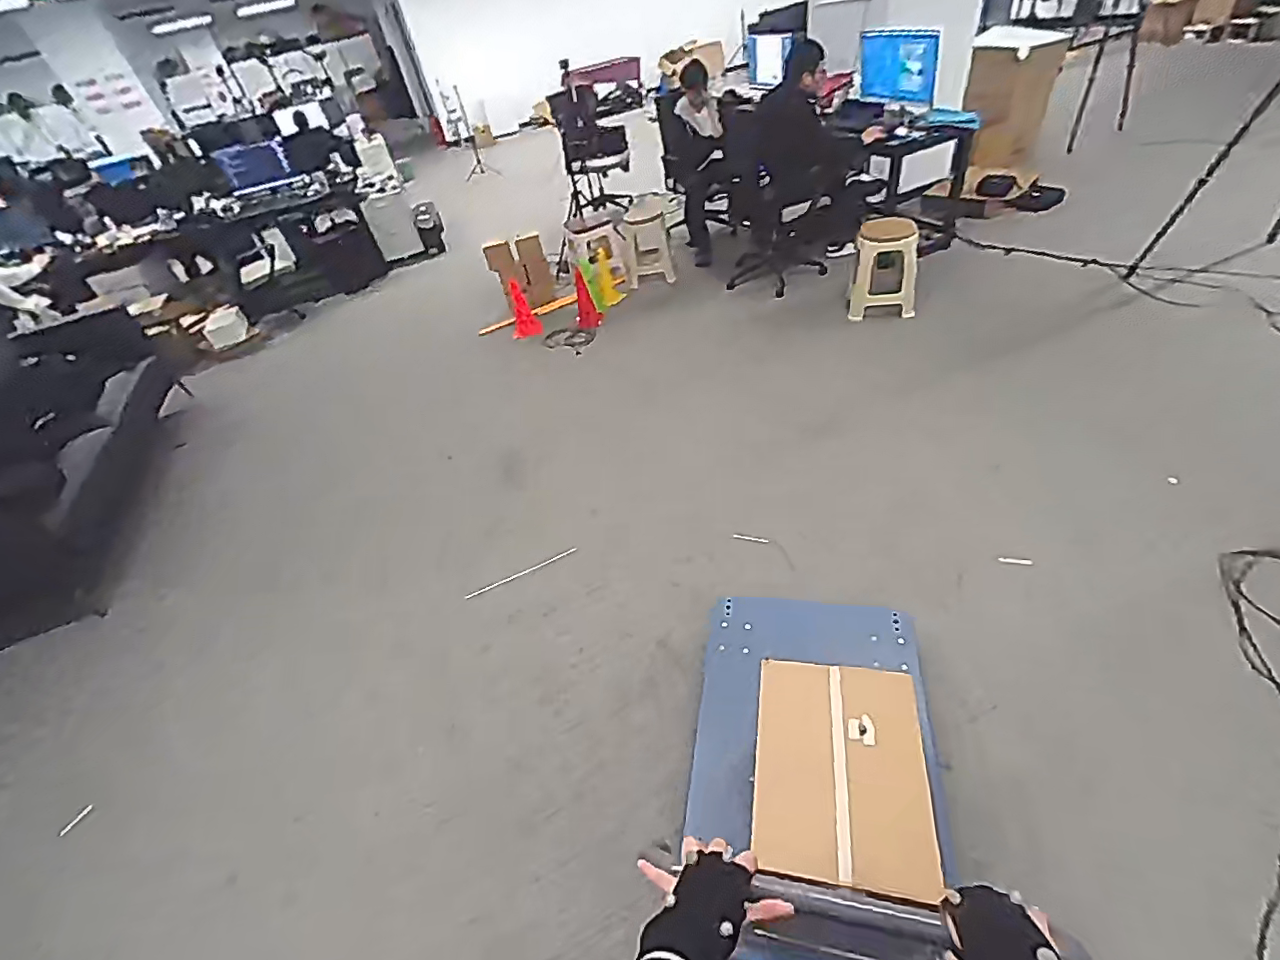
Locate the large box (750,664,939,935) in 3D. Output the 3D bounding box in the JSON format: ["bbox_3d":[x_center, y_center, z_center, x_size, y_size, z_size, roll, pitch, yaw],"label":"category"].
[{"bbox_3d":[0.409,0.667,1.159,0.320,0.320,0.408,1,42,15],"label":"large box"}]
